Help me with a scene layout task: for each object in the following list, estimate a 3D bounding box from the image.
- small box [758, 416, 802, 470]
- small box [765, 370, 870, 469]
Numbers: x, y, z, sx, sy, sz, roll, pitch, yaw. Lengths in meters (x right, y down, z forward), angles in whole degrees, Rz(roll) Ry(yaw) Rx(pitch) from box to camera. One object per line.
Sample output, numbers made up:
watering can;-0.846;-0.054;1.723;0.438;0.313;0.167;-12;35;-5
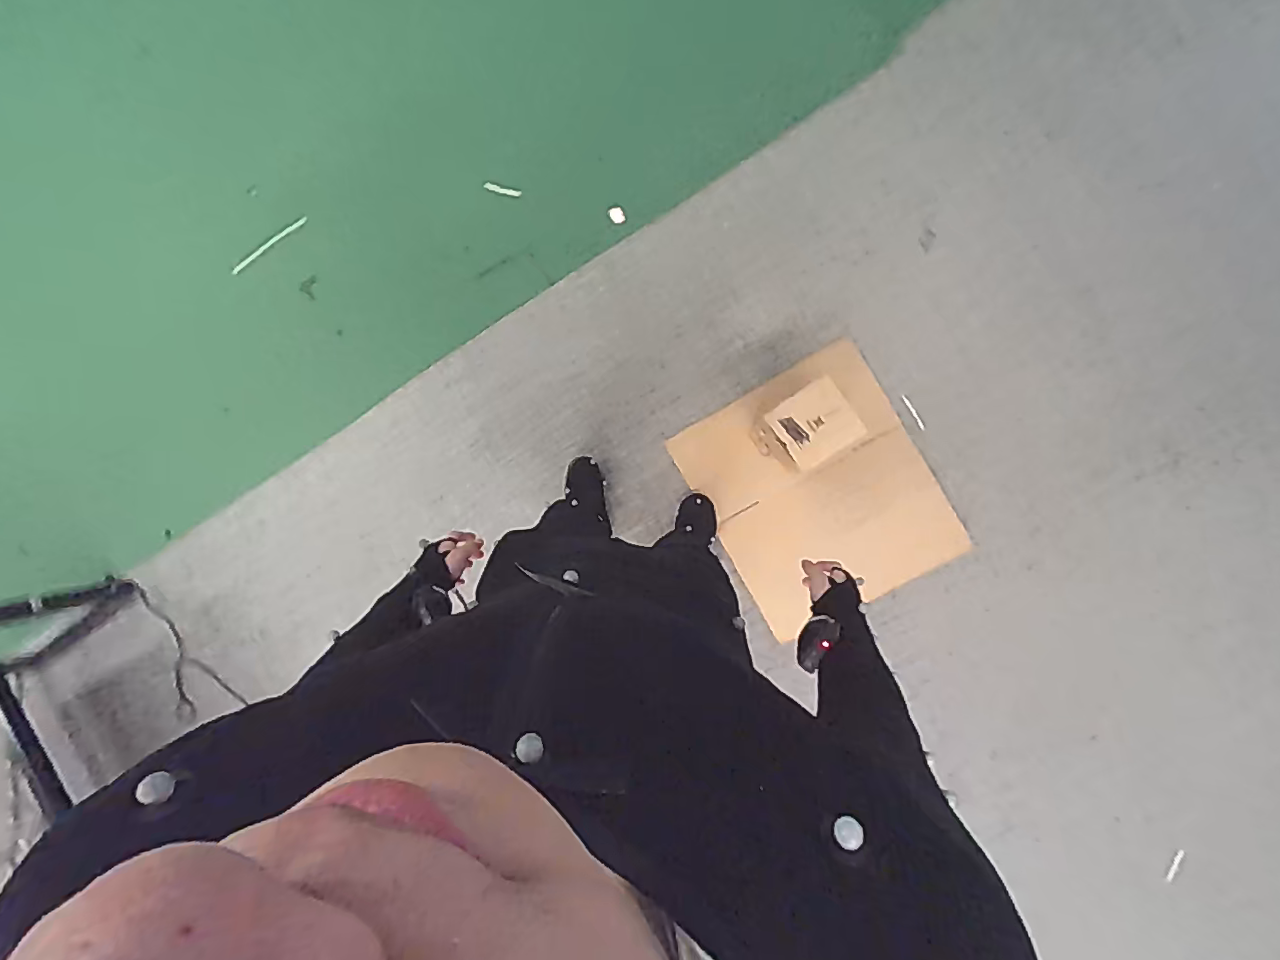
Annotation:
small box;0.439;-0.144;1.467;0.179;0.176;0.168;-37;87;8
small box;0.416;-0.138;1.305;0.179;0.176;0.168;-34;87;7
